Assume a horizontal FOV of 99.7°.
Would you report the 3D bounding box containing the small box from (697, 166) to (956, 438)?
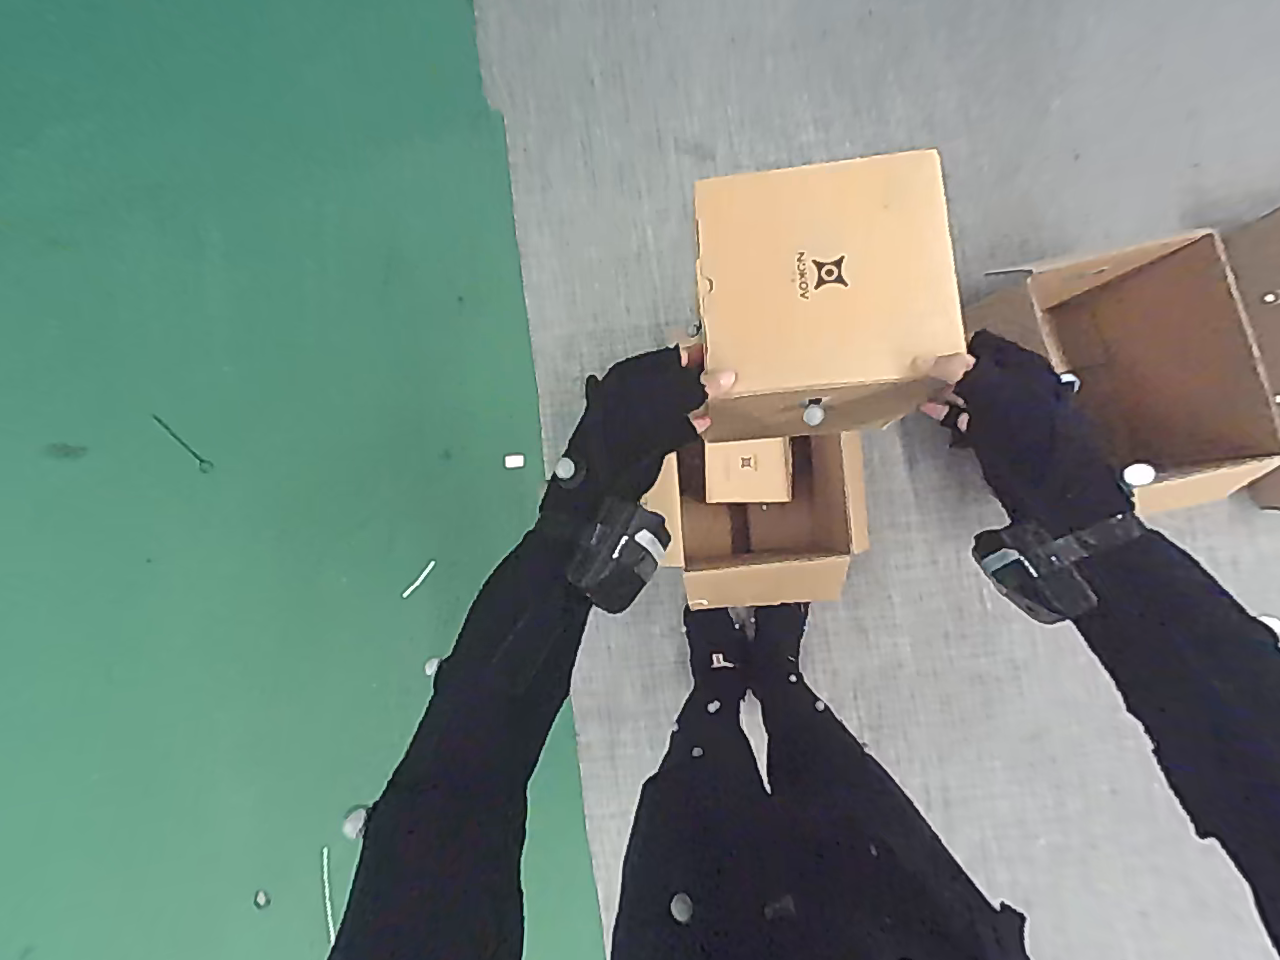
[{"bbox_3d":[0.142,-0.137,0.476,0.179,0.176,0.168,-4,82,7],"label":"small box"}]
